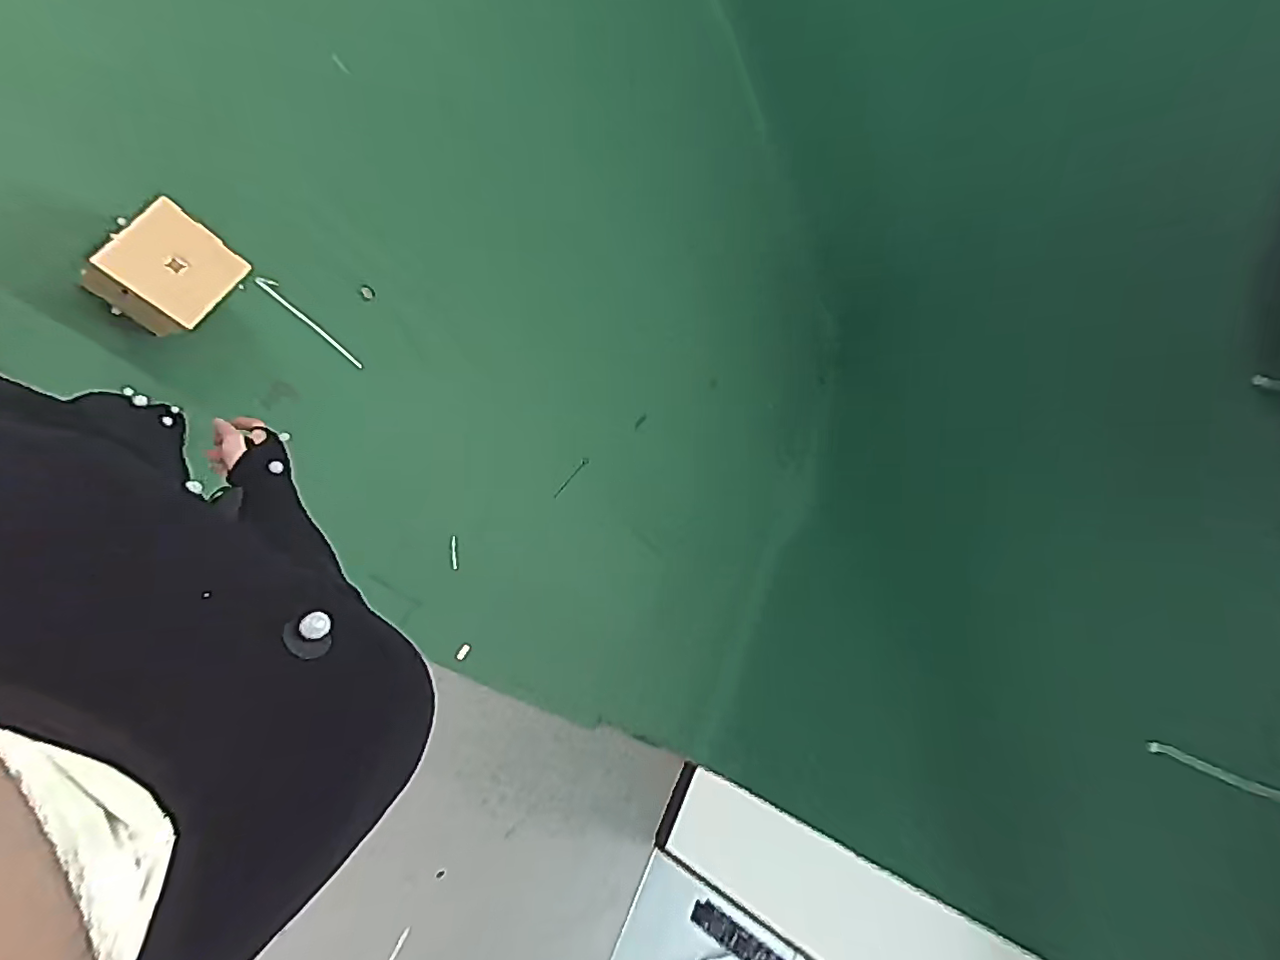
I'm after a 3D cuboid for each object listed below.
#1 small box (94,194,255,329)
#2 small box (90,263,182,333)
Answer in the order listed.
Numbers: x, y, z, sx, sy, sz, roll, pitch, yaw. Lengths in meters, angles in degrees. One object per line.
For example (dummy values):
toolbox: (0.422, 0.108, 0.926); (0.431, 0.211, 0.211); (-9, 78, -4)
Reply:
small box: (-0.909, -0.415, 1.058); (0.168, 0.176, 0.179); (46, 63, -42)
small box: (-1.029, -0.438, 1.162); (0.168, 0.176, 0.179); (46, 65, -42)
